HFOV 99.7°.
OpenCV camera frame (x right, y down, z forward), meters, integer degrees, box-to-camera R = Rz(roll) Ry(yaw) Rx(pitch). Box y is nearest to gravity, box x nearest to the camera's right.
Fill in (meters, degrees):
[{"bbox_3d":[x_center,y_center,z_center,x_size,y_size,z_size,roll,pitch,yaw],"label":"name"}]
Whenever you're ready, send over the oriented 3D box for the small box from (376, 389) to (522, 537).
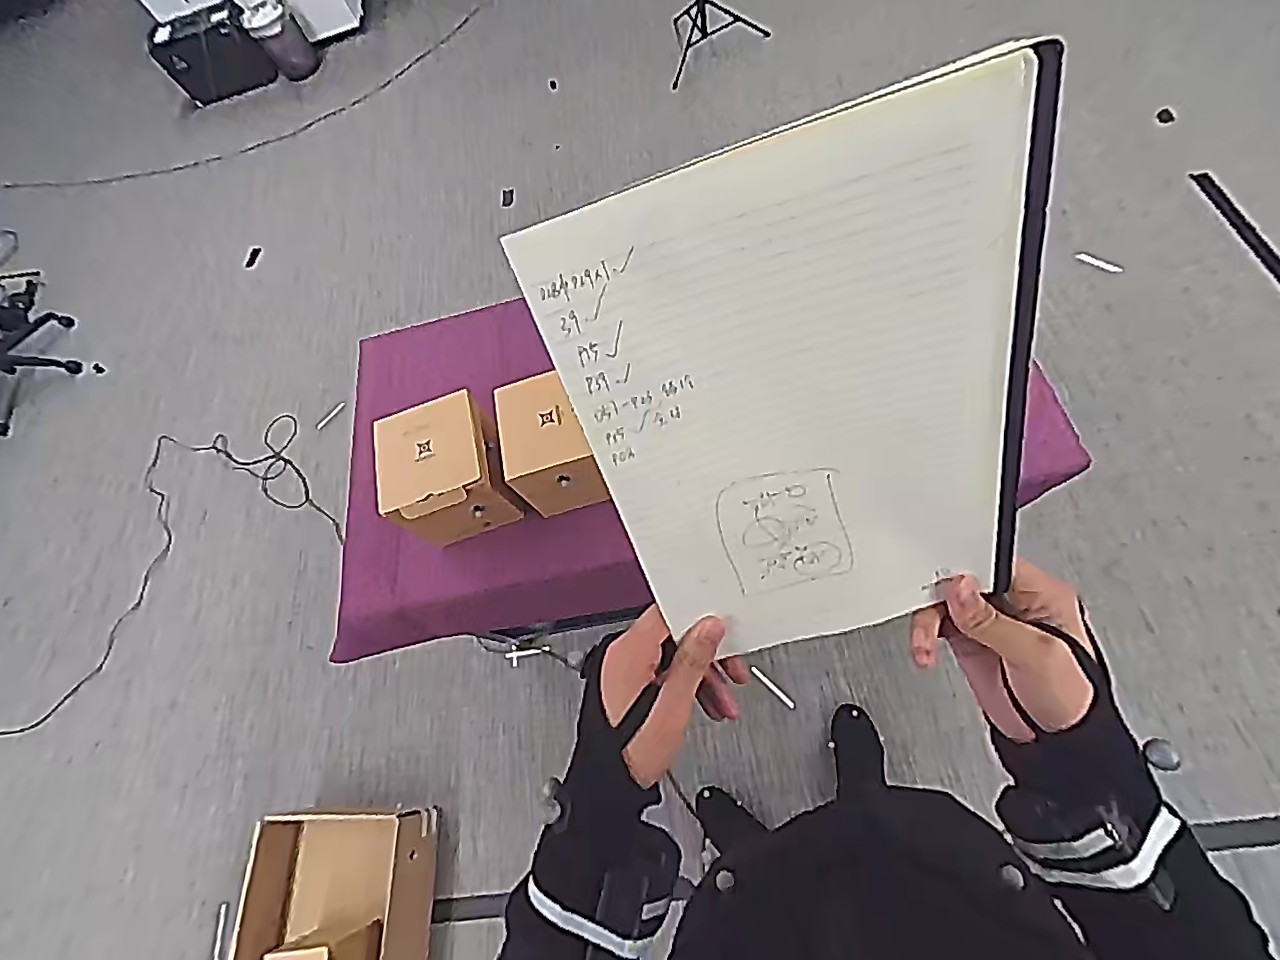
[{"bbox_3d":[-0.313,-0.017,0.908,0.168,0.176,0.179,-19,64,3],"label":"small box"}]
